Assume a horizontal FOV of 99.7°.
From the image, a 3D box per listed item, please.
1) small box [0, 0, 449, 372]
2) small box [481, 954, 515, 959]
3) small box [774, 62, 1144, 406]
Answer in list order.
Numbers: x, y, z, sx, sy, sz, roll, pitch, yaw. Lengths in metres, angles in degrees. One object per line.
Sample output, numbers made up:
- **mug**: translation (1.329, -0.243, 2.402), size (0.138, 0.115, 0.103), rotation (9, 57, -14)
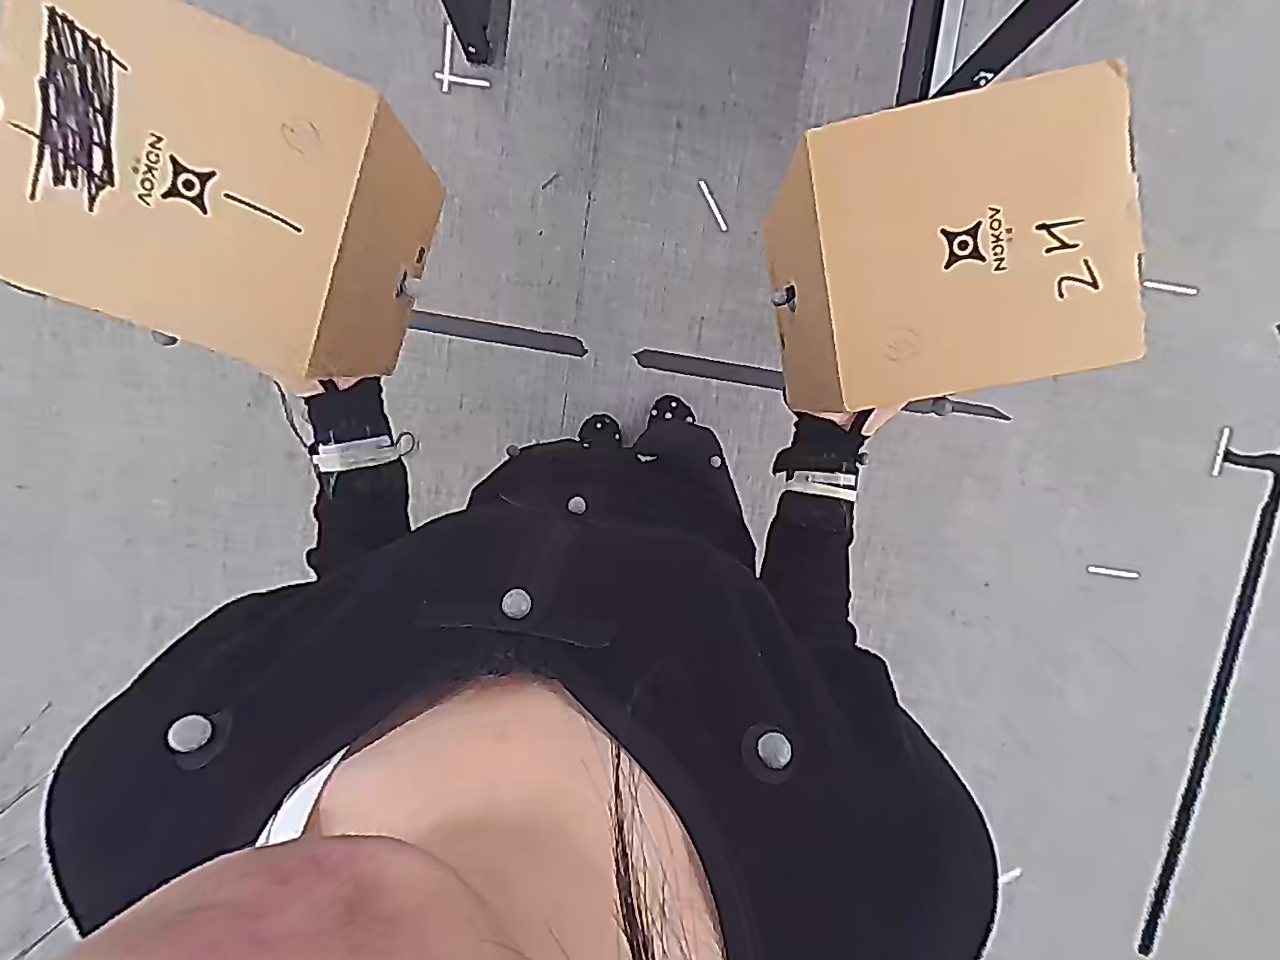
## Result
- **small box**: translation (-0.250, -0.178, 0.363), size (0.179, 0.176, 0.168), rotation (19, 99, -12)
- **small box**: translation (-0.269, 1.099, 1.069), size (0.168, 0.176, 0.179), rotation (13, 96, -3)
- **small box**: translation (0.201, -0.147, 0.393), size (0.179, 0.176, 0.168), rotation (-10, 97, 5)
